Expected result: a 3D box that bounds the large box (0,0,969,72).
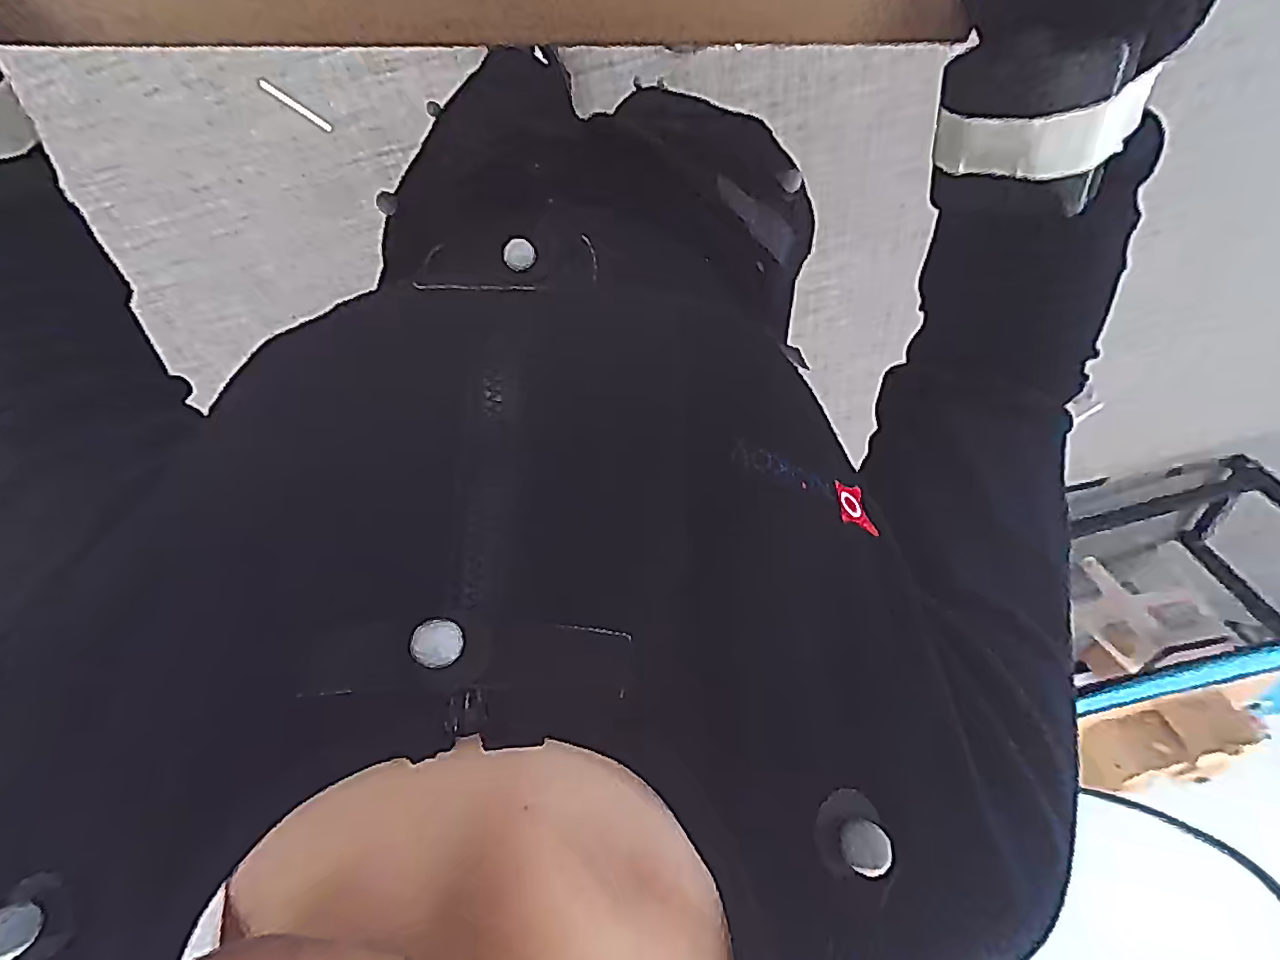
[{"bbox_3d":[-0.066,-0.375,0.144,0.408,0.320,0.320,-2,159,-2],"label":"large box"}]
